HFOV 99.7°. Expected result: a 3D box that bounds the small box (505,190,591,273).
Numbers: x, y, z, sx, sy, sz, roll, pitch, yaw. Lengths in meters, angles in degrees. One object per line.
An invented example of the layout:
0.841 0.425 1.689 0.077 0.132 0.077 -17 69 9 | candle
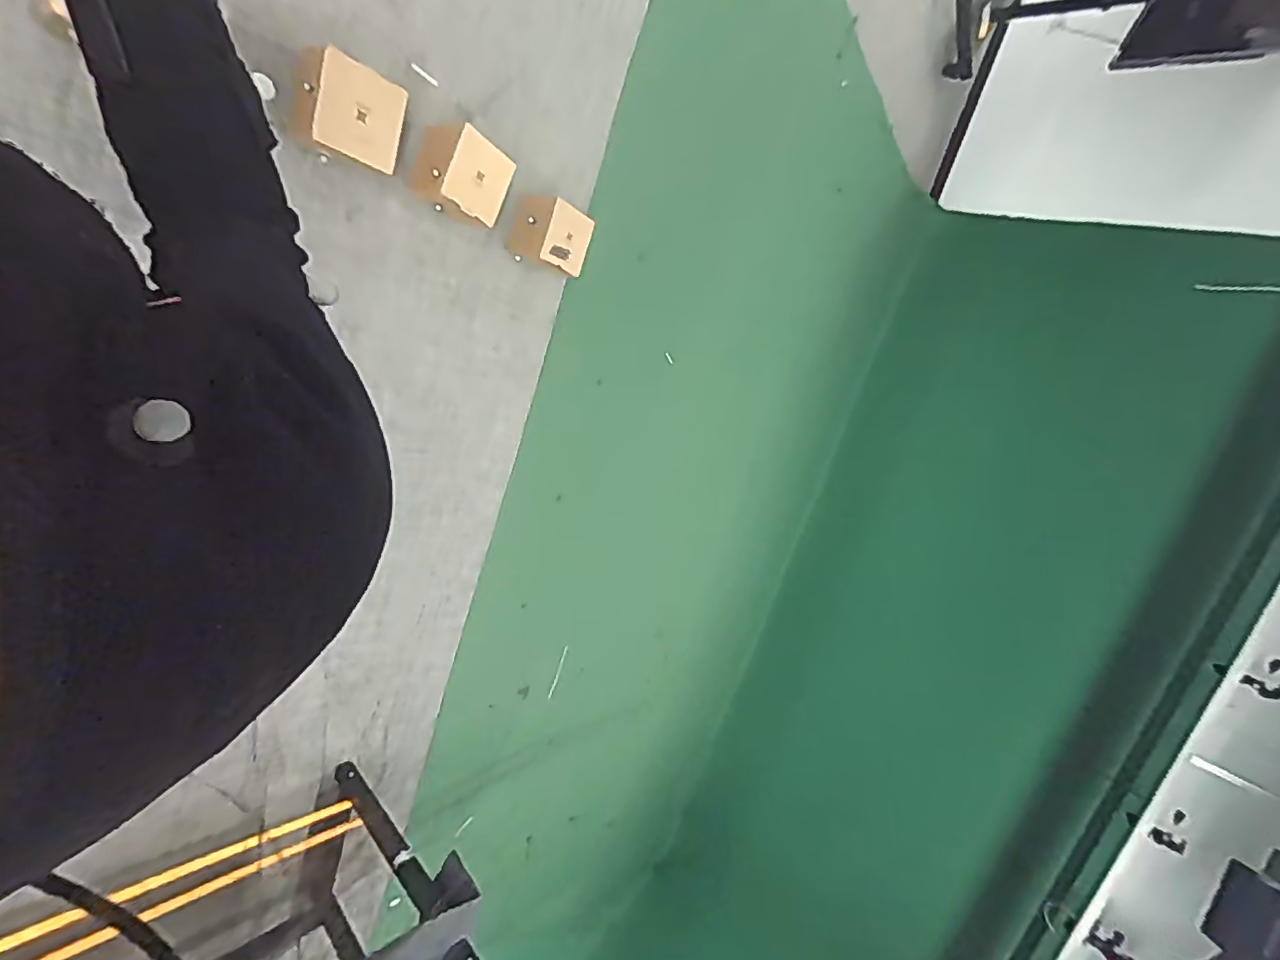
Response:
-0.285 -0.755 1.643 0.168 0.176 0.179 7 105 -54 | small box

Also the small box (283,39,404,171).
-0.637 -0.791 1.154 0.168 0.176 0.179 1 112 -51 | small box

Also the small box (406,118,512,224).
-0.466 -0.788 1.383 0.168 0.176 0.179 15 100 -55 | small box
